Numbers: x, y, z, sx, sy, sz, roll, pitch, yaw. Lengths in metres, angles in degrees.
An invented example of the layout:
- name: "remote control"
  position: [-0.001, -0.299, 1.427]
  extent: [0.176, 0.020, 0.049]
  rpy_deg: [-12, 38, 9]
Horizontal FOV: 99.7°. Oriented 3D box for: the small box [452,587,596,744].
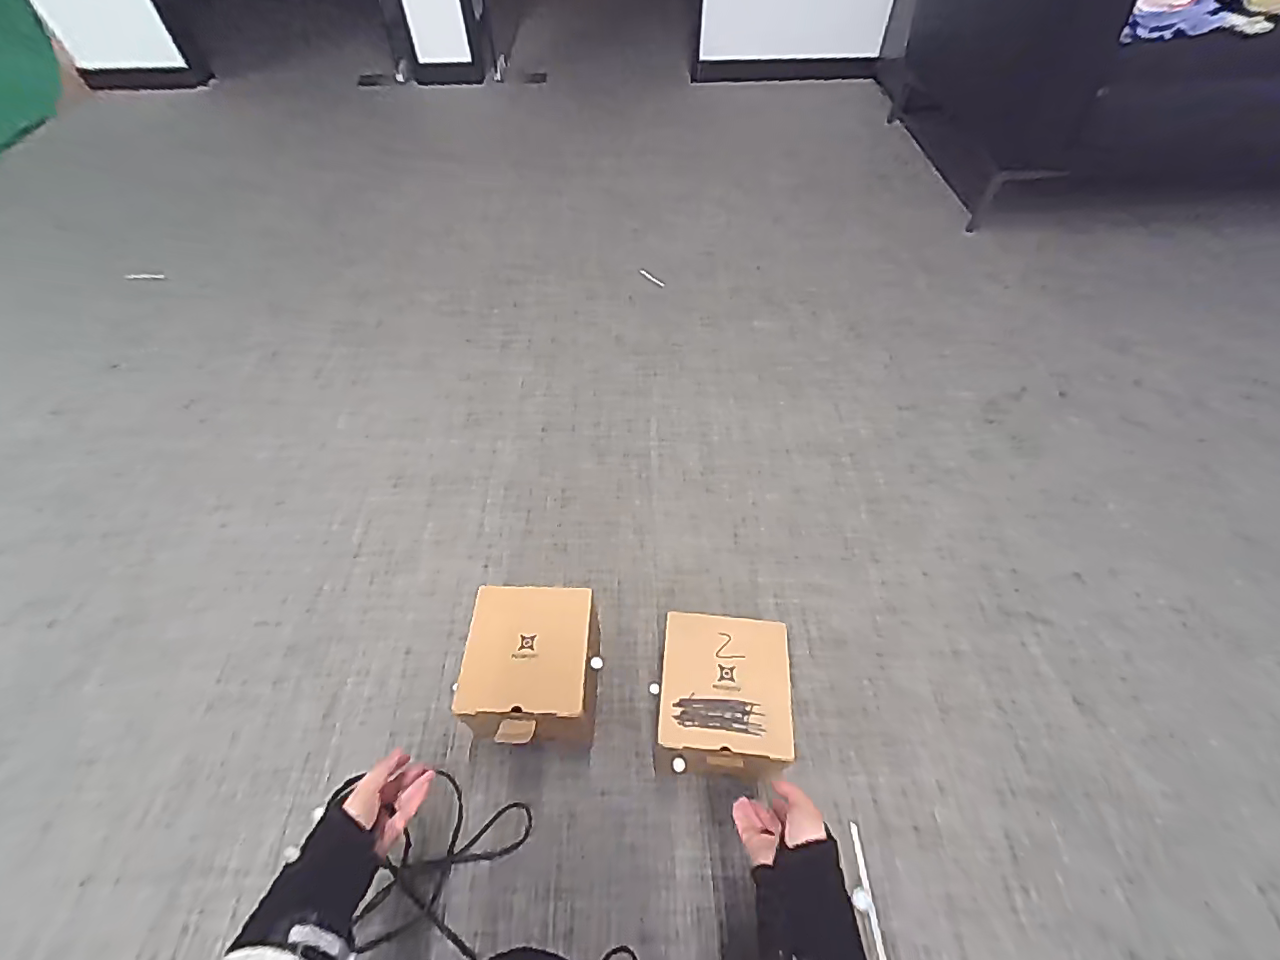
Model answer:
- name: "small box"
  position: [-0.155, 0.274, 0.794]
  extent: [0.168, 0.176, 0.179]
  rpy_deg: [1, 54, 1]
